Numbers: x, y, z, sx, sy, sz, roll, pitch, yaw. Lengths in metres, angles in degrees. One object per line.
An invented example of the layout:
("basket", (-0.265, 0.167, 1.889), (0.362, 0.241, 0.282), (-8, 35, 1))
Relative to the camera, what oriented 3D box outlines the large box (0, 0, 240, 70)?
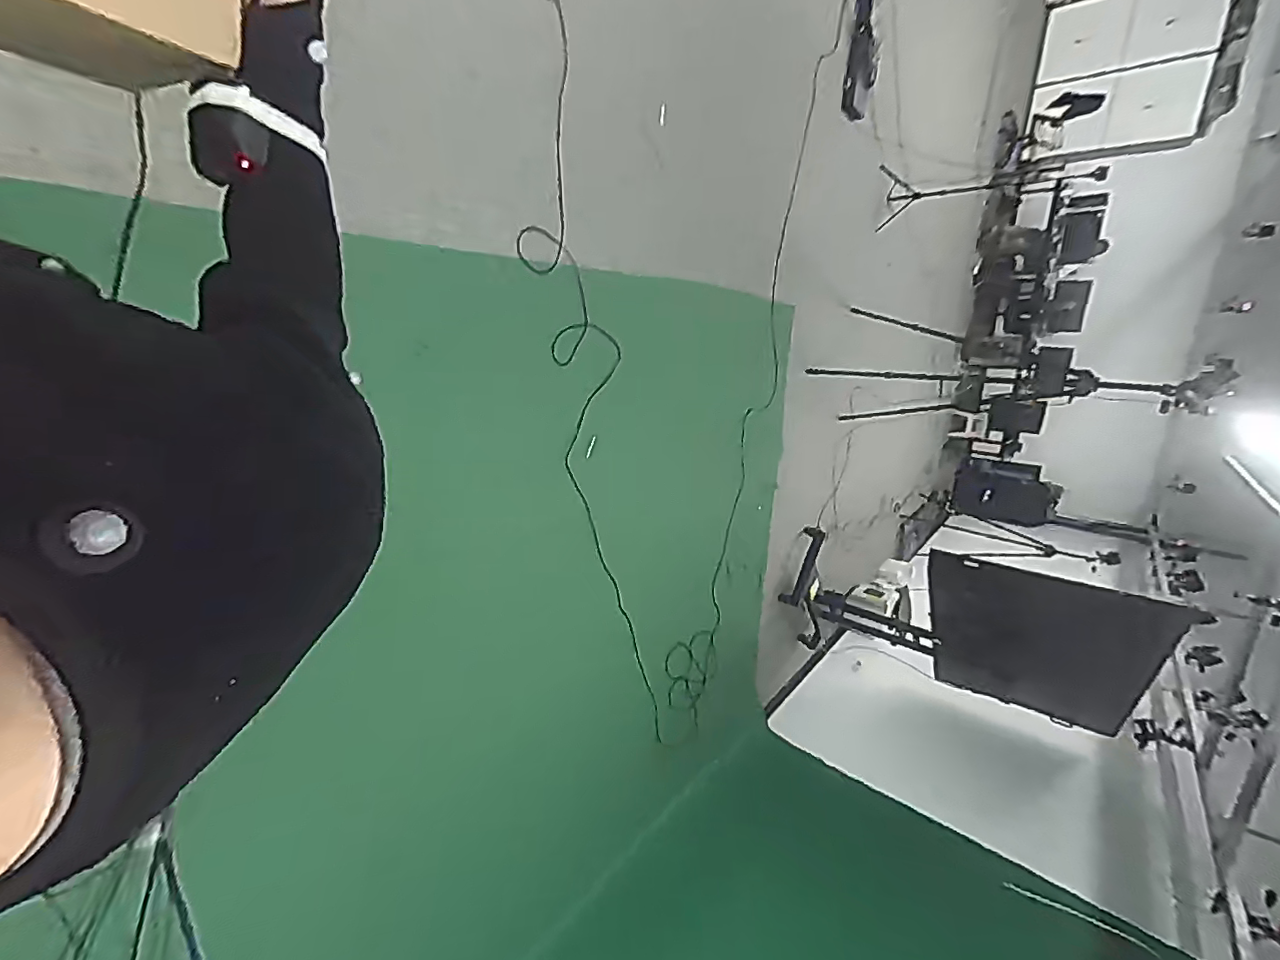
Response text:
("large box", (-0.517, -0.501, 0.306), (0.408, 0.320, 0.320), (-10, 118, -51))
